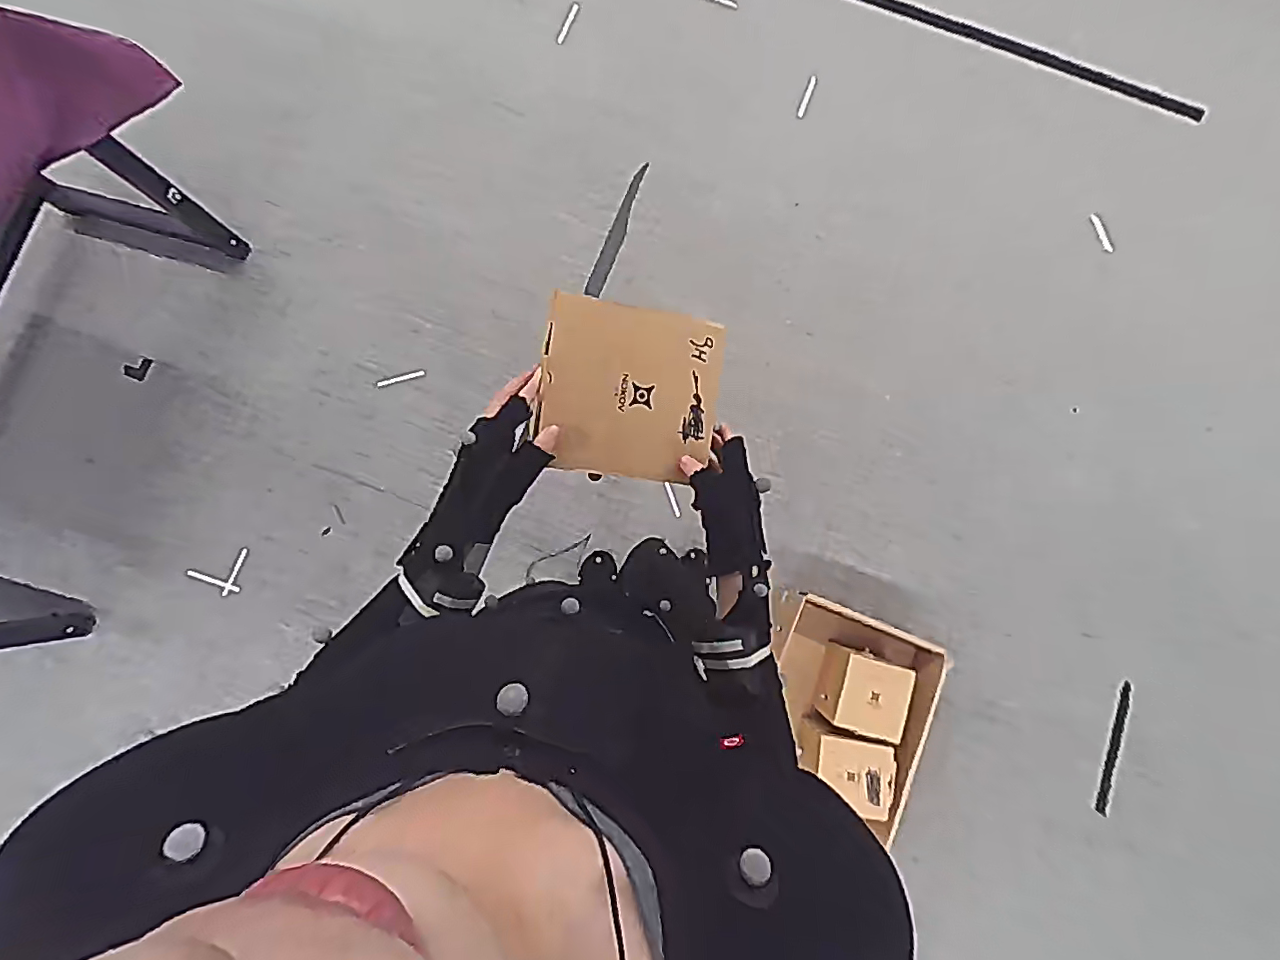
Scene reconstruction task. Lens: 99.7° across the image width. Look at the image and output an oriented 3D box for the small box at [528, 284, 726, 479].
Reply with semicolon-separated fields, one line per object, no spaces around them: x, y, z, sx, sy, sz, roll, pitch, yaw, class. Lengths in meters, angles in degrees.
-0.025;-0.096;0.597;0.179;0.176;0.168;7;93;-12;small box
